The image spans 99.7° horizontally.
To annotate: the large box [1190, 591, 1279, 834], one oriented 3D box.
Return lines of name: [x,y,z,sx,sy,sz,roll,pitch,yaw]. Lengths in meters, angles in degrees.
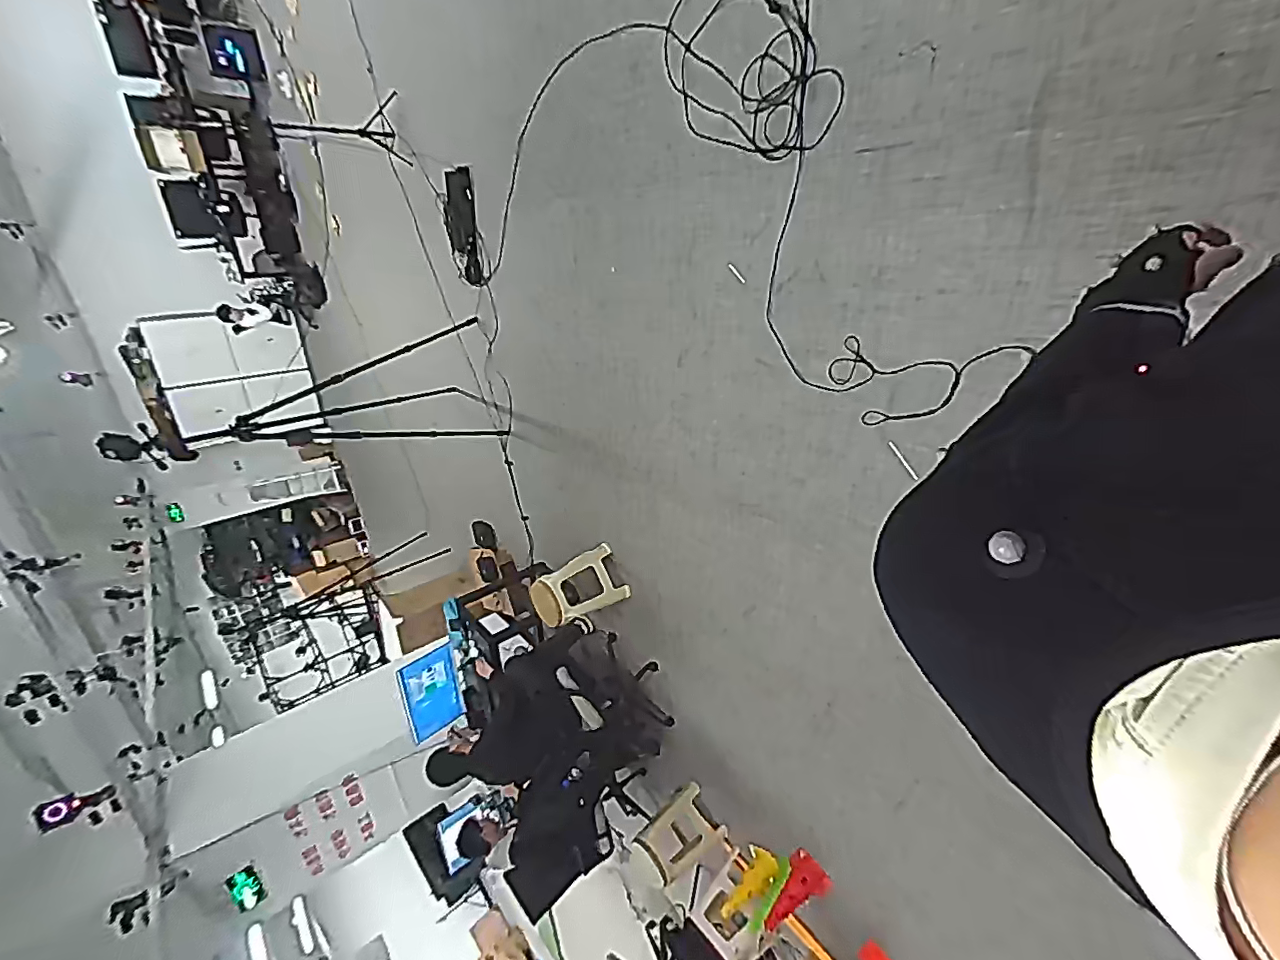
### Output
large box: [1.221,0.389,0.890,0.320,0.320,0.408,29,129,40]
